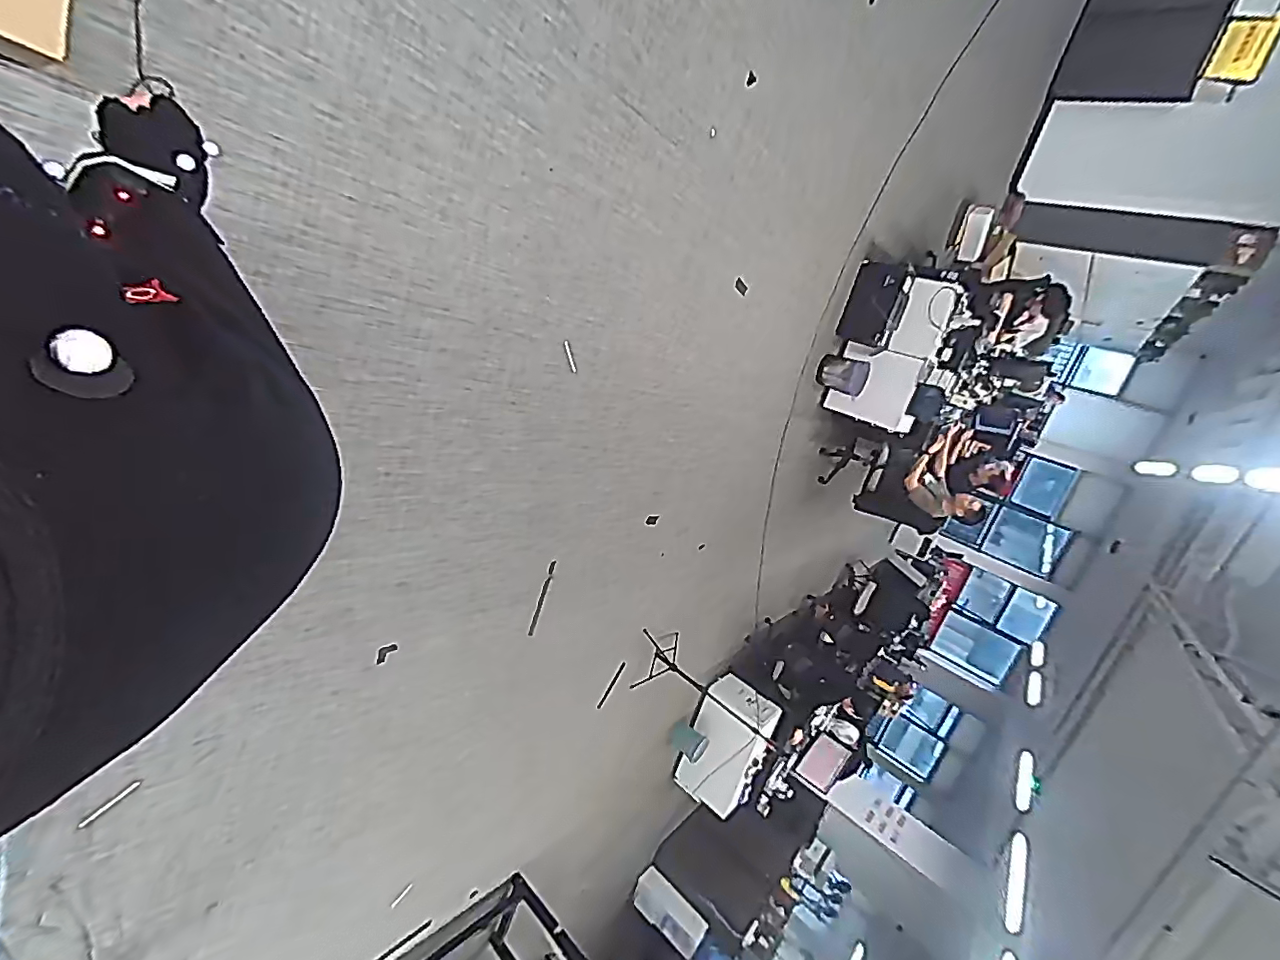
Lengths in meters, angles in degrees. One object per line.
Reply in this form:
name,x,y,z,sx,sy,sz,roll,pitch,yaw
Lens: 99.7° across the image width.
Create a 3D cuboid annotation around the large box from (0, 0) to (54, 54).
large box,-0.970,-0.771,0.613,0.408,0.320,0.320,2,111,-54
